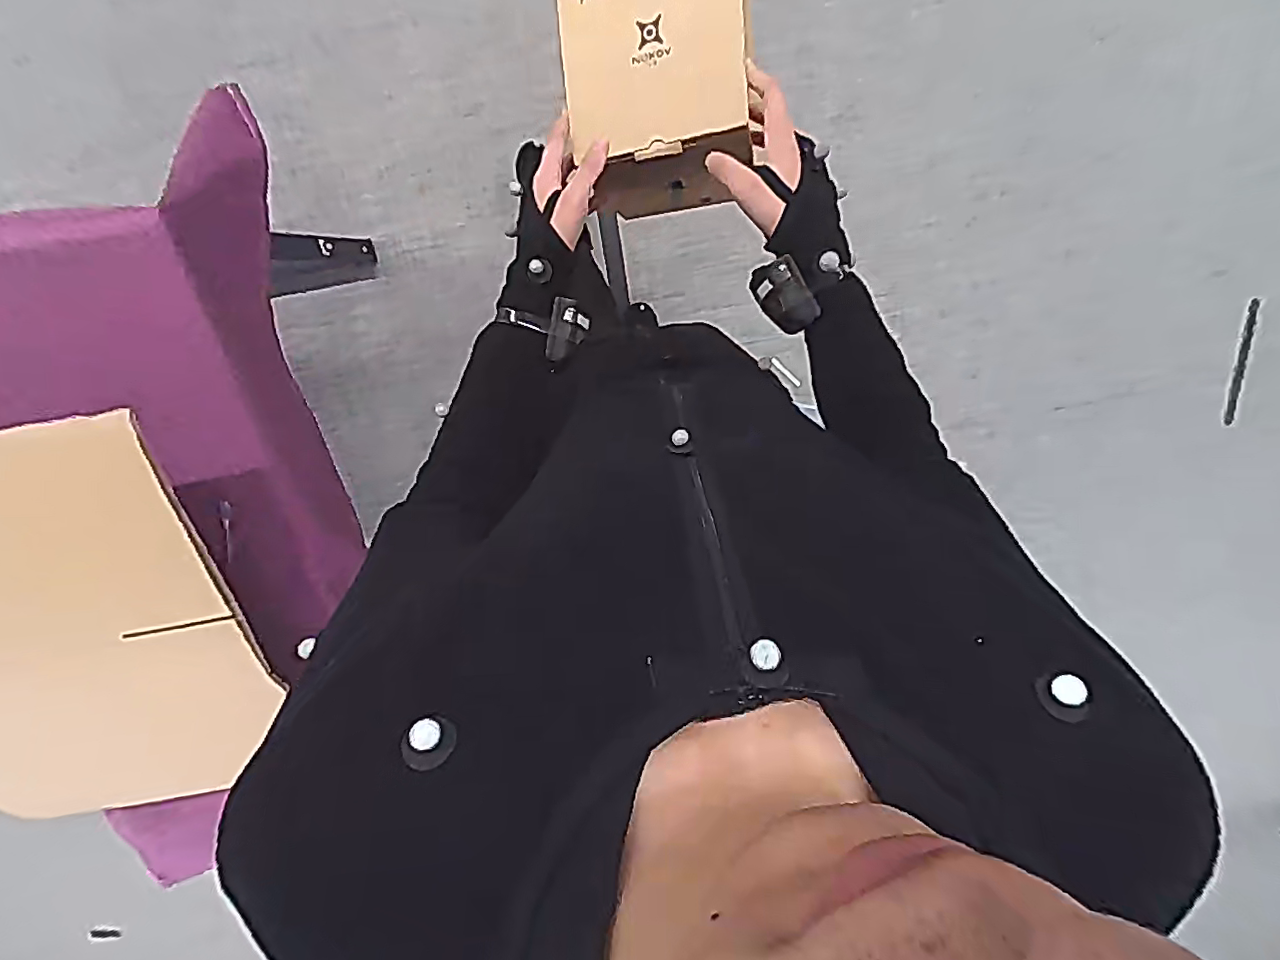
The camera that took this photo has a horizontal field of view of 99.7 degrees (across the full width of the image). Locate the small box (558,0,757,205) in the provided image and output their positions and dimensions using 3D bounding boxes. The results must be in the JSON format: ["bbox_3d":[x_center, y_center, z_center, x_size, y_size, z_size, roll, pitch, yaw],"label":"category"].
[{"bbox_3d":[0.029,-0.402,0.554,0.168,0.176,0.179,-2,99,16],"label":"small box"}]
